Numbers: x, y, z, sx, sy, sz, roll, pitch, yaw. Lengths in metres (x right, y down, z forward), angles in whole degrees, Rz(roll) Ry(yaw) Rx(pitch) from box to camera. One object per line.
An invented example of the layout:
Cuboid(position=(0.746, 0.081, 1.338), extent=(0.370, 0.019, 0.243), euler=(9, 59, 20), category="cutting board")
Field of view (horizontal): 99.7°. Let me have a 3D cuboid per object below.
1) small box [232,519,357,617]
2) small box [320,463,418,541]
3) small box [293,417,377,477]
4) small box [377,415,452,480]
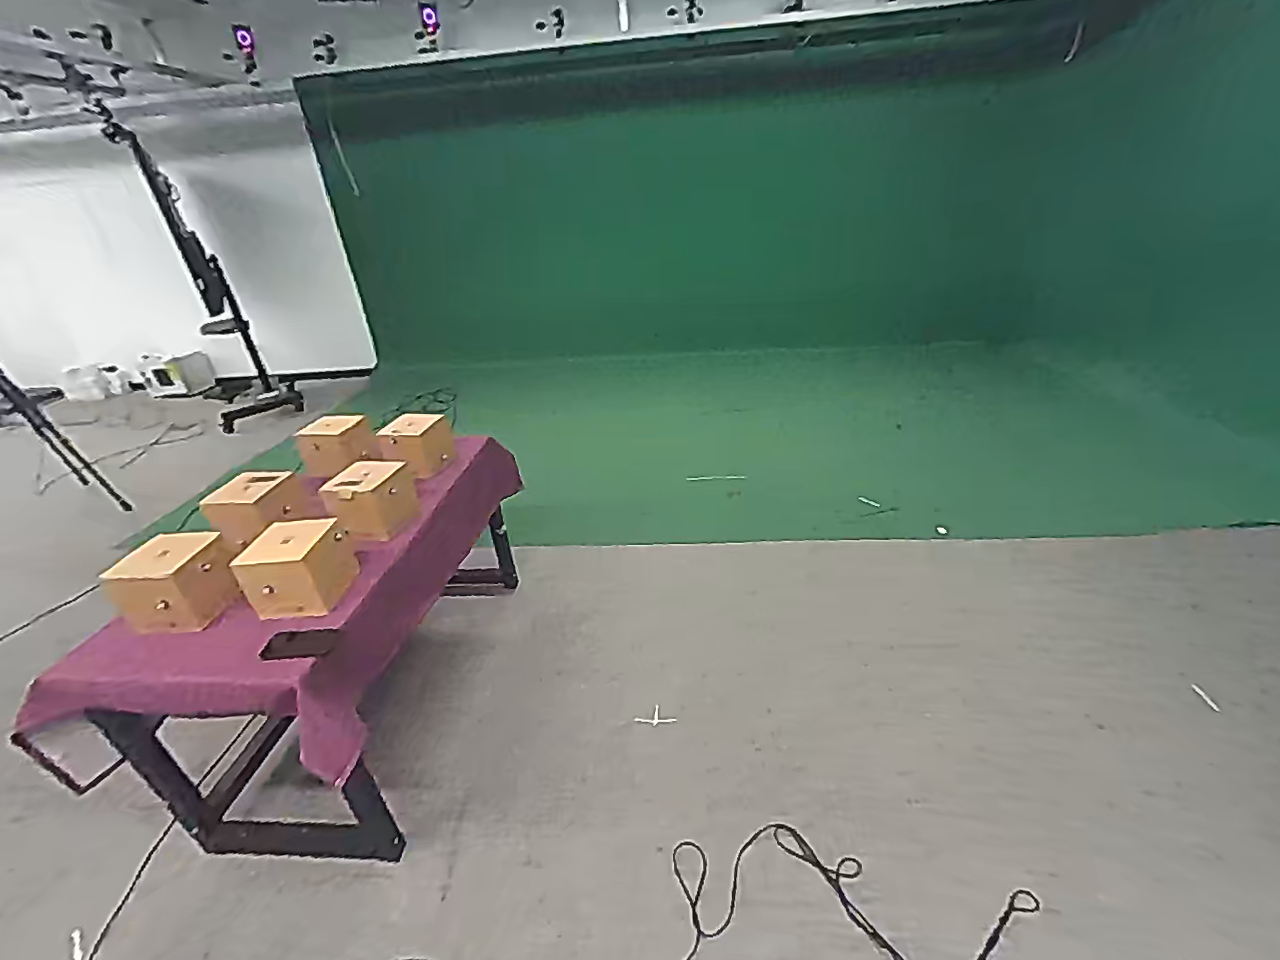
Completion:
Cuboid(position=(-0.816, 0.216, 1.302), extent=(0.168, 0.176, 0.179), euler=(-5, 28, 1), category="small box")
Cuboid(position=(-0.776, 0.062, 1.573), extent=(0.168, 0.176, 0.179), euler=(1, 29, 11), category="small box")
Cuboid(position=(-1.090, -0.117, 1.946), extent=(0.179, 0.176, 0.168), euler=(1, 30, 9), category="small box")
Cuboid(position=(-0.780, -0.117, 1.898), extent=(0.168, 0.176, 0.179), euler=(1, 29, 13), category="small box")
